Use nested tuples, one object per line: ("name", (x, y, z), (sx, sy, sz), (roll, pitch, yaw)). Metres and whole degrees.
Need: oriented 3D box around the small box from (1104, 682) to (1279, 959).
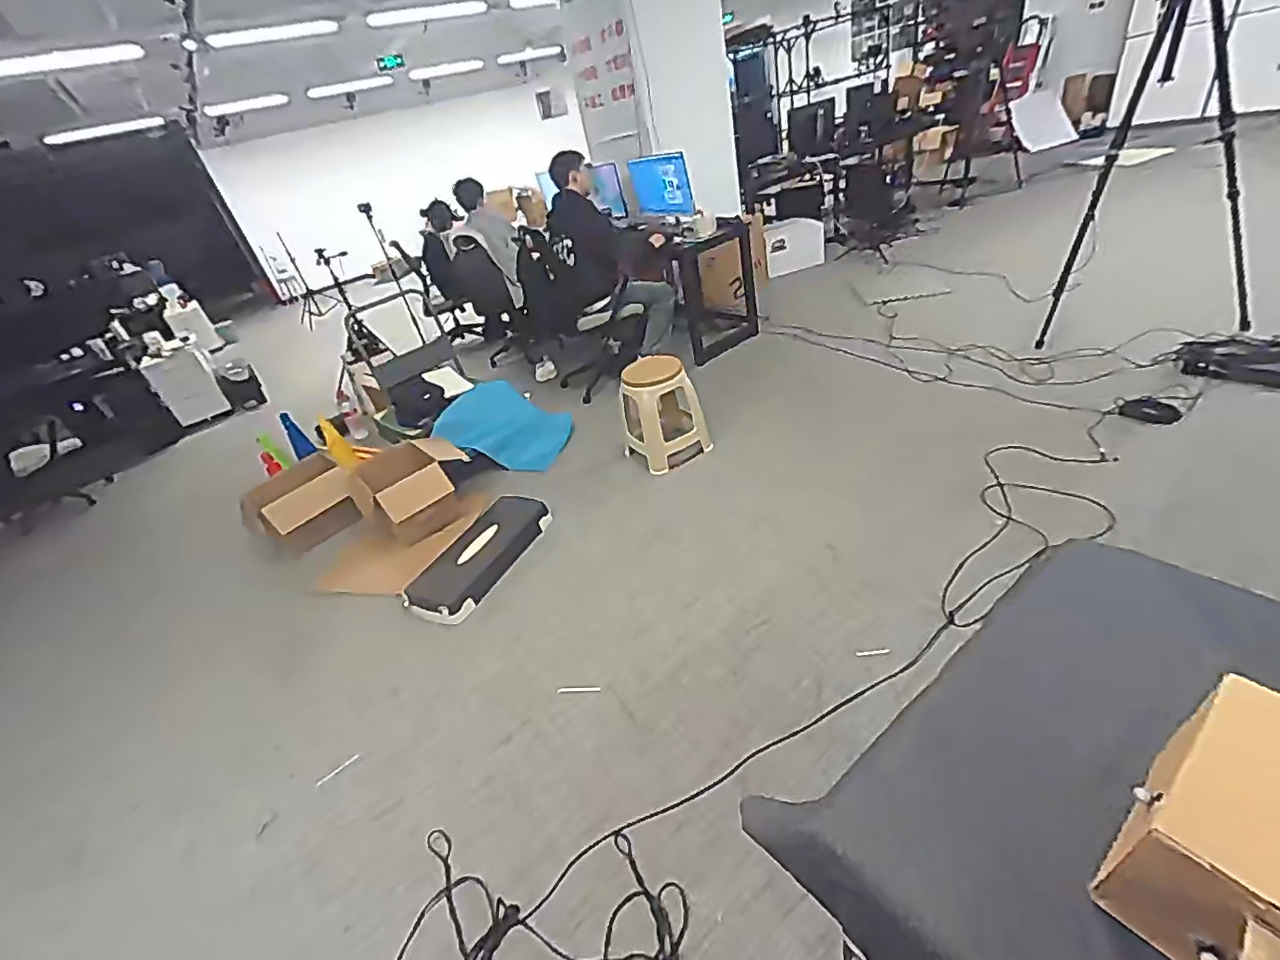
("small box", (0.508, 0.306, 0.420), (0.179, 0.176, 0.168), (-36, 41, -23))
